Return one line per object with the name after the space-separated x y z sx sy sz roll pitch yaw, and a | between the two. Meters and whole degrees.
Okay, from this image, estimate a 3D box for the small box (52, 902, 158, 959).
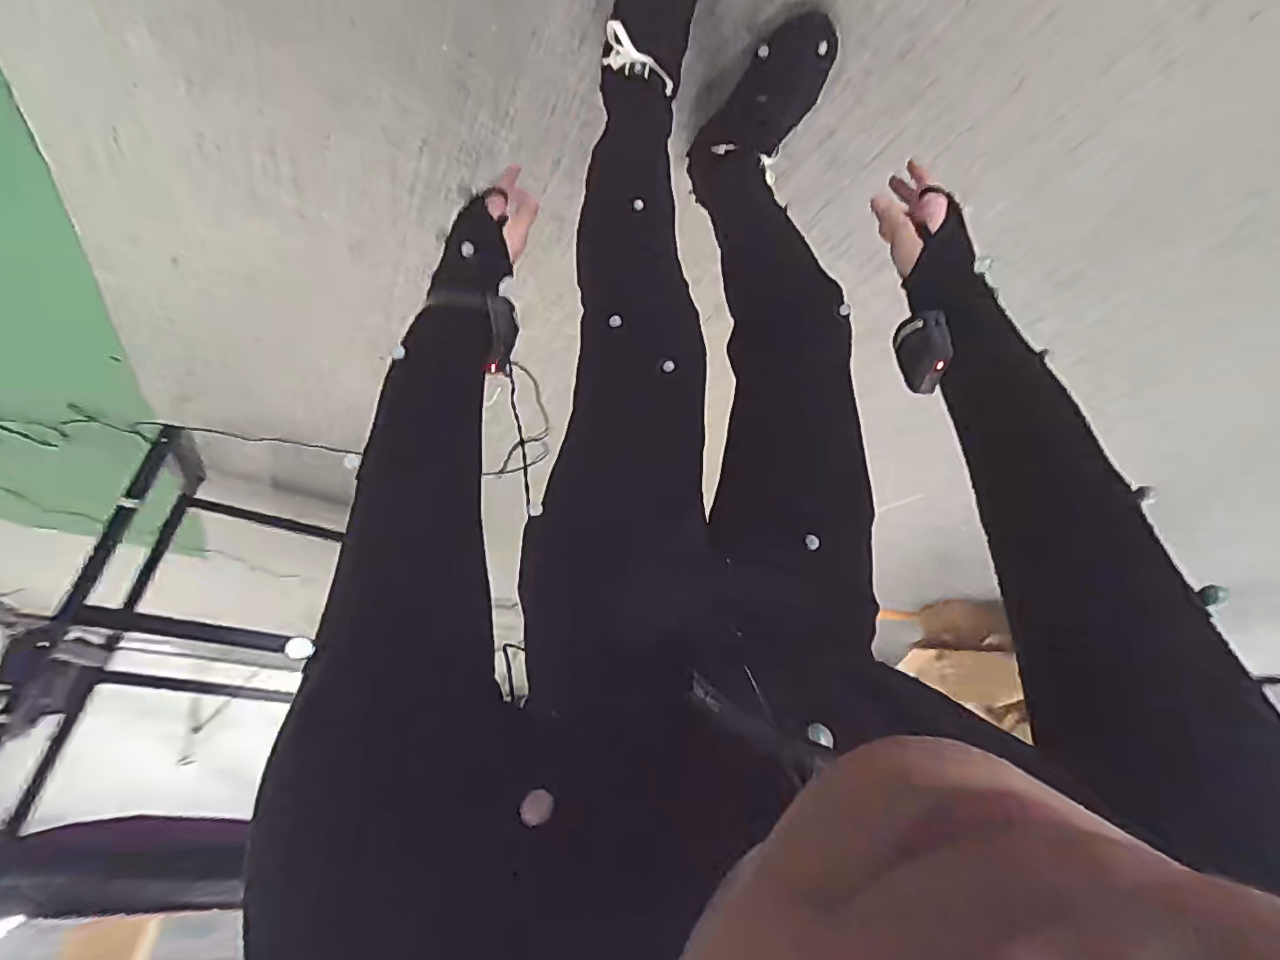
-1.547 1.338 1.555 0.179 0.176 0.168 16 151 -22 | small box
